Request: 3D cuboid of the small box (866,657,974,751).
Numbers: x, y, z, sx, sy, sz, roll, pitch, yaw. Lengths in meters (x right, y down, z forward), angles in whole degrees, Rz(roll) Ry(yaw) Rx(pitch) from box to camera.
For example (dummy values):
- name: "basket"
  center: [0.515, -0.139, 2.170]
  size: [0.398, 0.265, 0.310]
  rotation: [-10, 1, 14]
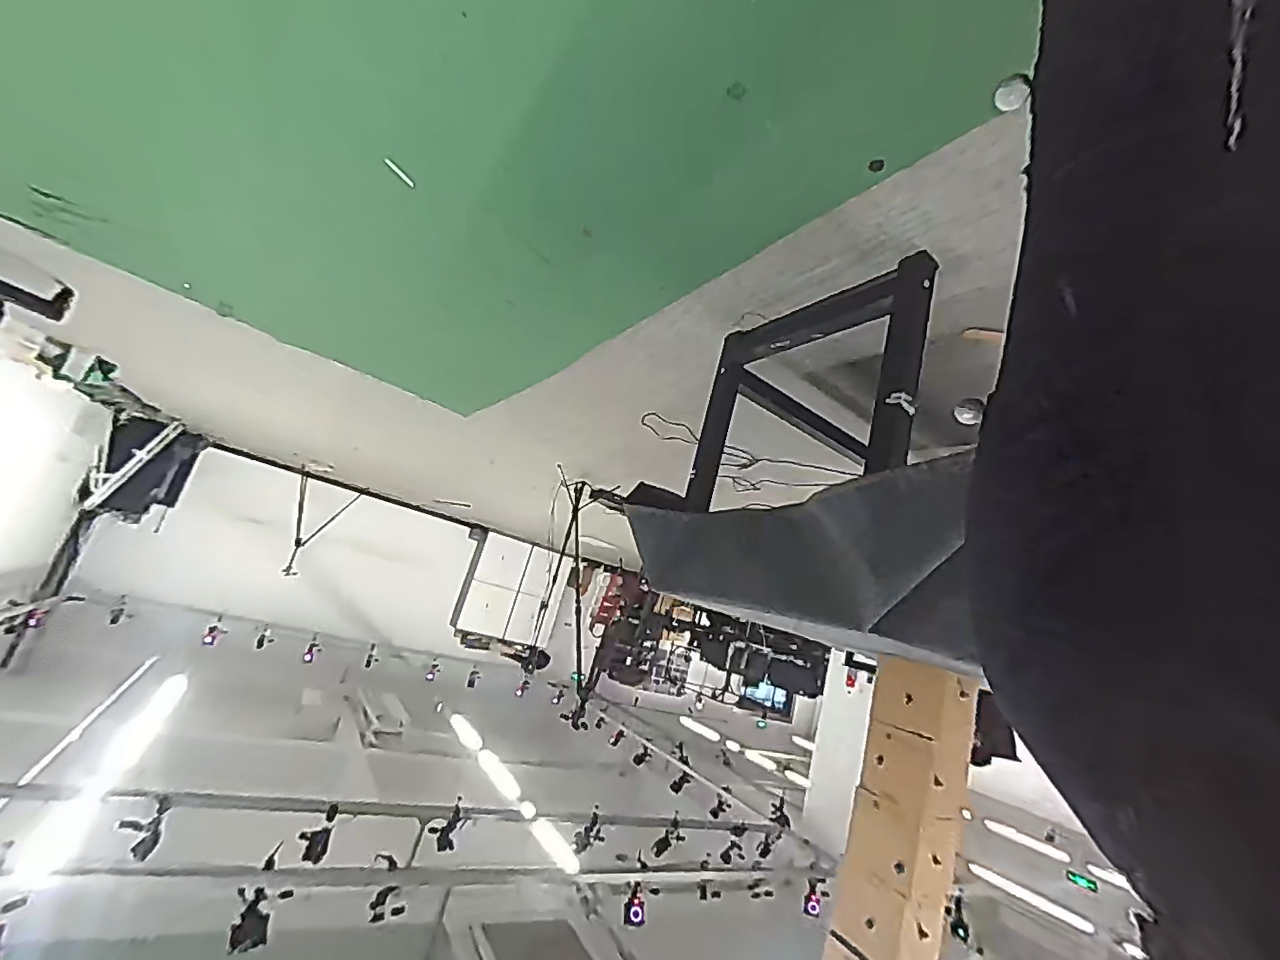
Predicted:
- name: "small box"
  center: [0.700, 0.550, 1.349]
  size: [0.168, 0.176, 0.179]
  rotation: [24, 164, -30]

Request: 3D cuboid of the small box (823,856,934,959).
- name: "small box"
  center: [0.558, 1.010, 1.257]
  size: [0.168, 0.176, 0.179]
  rotation: [24, 165, -28]

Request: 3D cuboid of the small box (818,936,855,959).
- name: "small box"
  center: [0.512, 1.164, 1.216]
  size: [0.179, 0.176, 0.168]
  rotation: [23, 166, -29]

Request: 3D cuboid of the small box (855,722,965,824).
- name: "small box"
  center: [0.657, 0.704, 1.314]
  size: [0.179, 0.176, 0.168]
  rotation: [23, 165, -28]
